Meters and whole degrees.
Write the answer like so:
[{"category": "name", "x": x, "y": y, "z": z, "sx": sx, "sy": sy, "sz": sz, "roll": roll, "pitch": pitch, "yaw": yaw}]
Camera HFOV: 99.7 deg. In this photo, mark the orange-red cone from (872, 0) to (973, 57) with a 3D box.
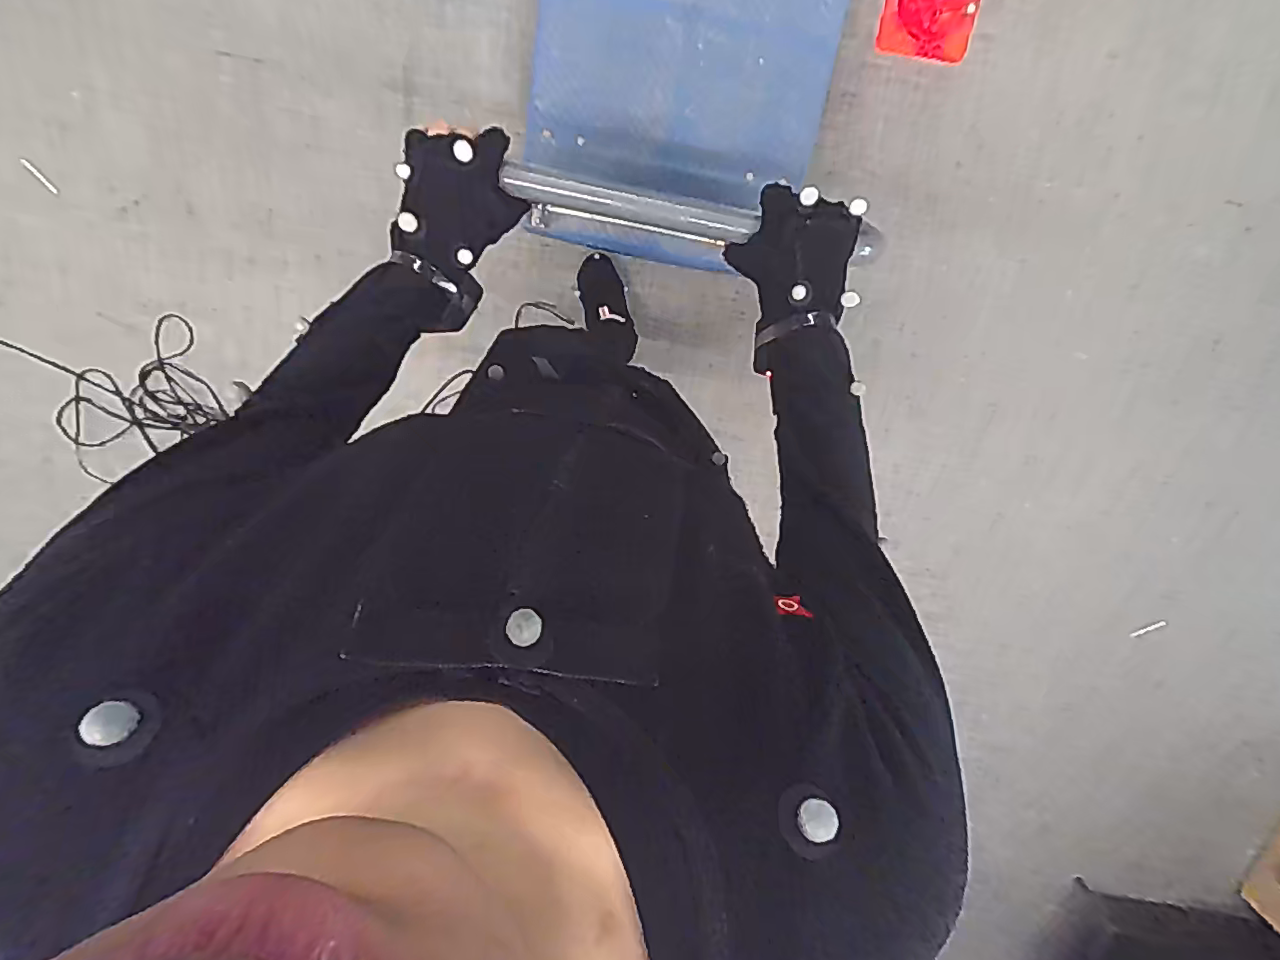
[{"category": "orange-red cone", "x": 0.608, "y": -0.985, "z": 0.994, "sx": 0.199, "sy": 0.360, "sz": 0.198, "roll": 11, "pitch": 107, "yaw": 0}]
